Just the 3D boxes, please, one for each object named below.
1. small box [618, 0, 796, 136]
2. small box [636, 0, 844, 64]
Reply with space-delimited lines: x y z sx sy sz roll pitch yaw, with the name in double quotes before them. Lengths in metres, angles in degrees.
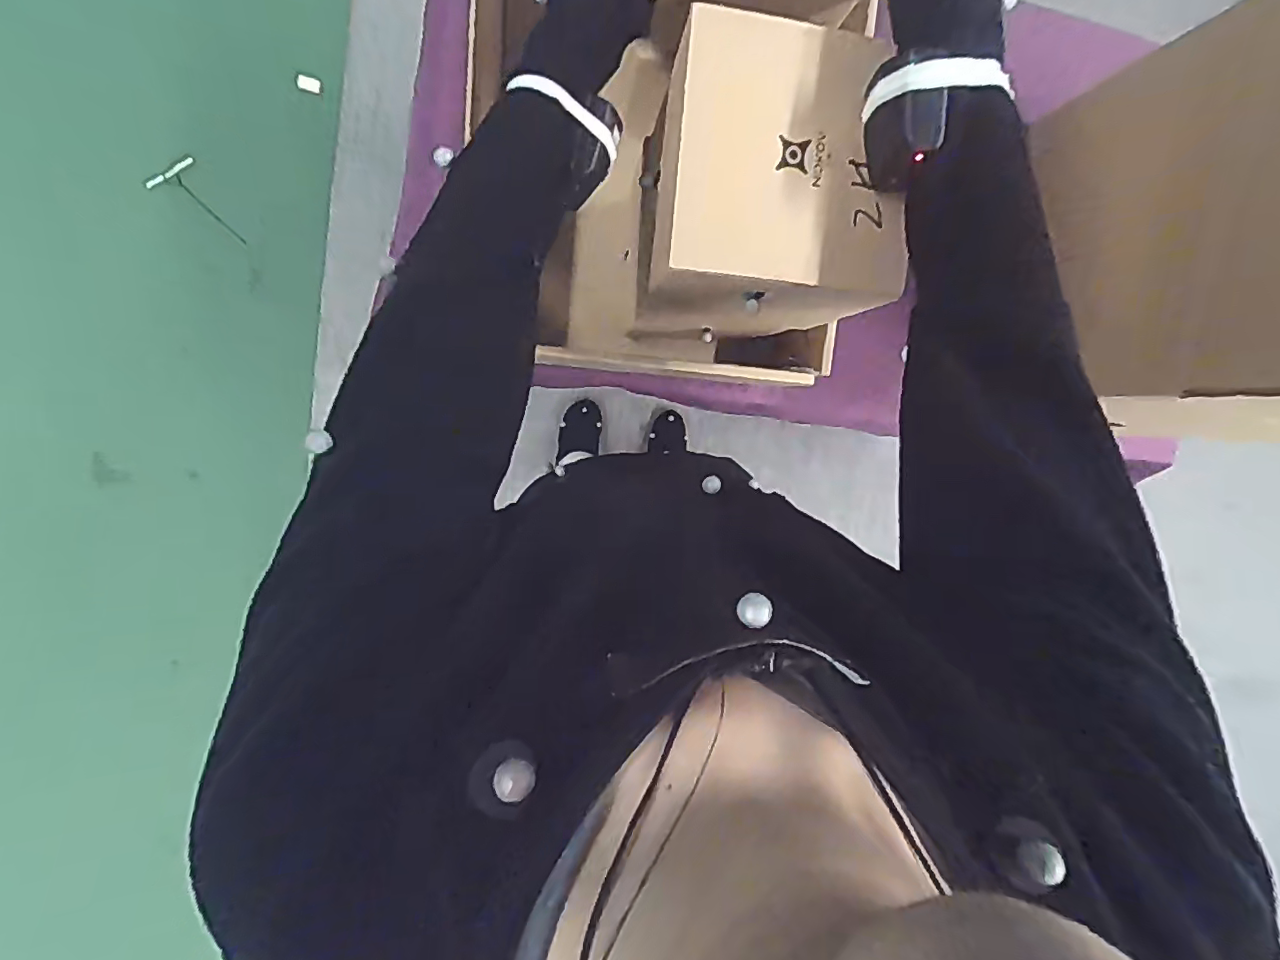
"small box" 0.066 -0.498 0.574 0.168 0.176 0.179 2 100 -8
"small box" 0.091 -0.472 0.414 0.168 0.176 0.179 4 102 -7
